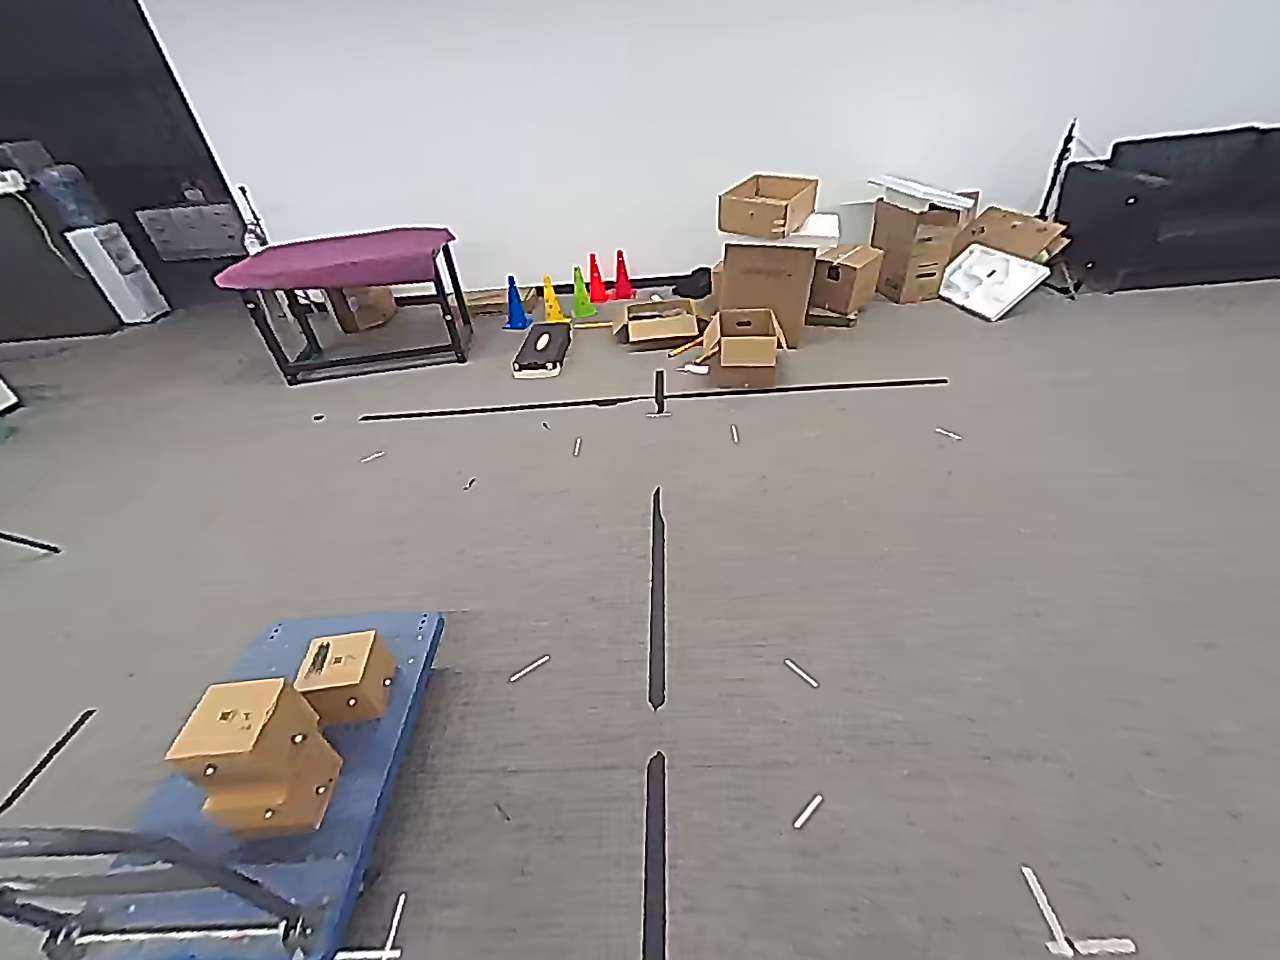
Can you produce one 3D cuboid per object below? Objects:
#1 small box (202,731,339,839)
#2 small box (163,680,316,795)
[{"bbox_3d":[-0.841,0.707,1.253,0.179,0.176,0.168,-5,37,-1],"label":"small box"},{"bbox_3d":[-0.854,0.561,1.174,0.179,0.176,0.168,-5,37,-1],"label":"small box"}]
